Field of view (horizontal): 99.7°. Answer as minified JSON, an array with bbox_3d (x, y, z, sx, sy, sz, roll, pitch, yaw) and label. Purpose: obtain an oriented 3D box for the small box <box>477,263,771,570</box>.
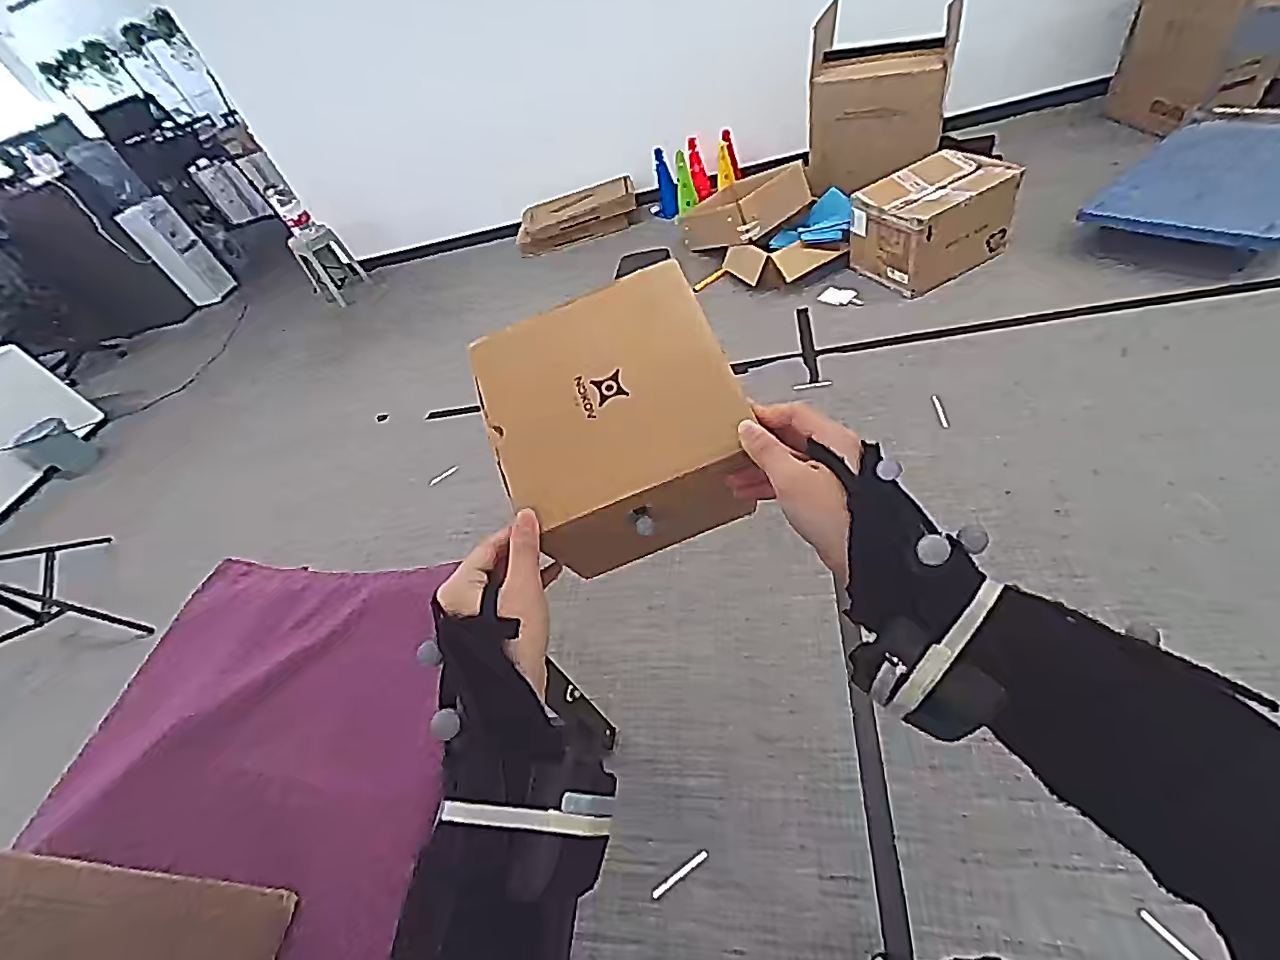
[{"bbox_3d":[-0.007,-0.038,0.458,0.179,0.176,0.168,-22,69,3],"label":"small box"}]
